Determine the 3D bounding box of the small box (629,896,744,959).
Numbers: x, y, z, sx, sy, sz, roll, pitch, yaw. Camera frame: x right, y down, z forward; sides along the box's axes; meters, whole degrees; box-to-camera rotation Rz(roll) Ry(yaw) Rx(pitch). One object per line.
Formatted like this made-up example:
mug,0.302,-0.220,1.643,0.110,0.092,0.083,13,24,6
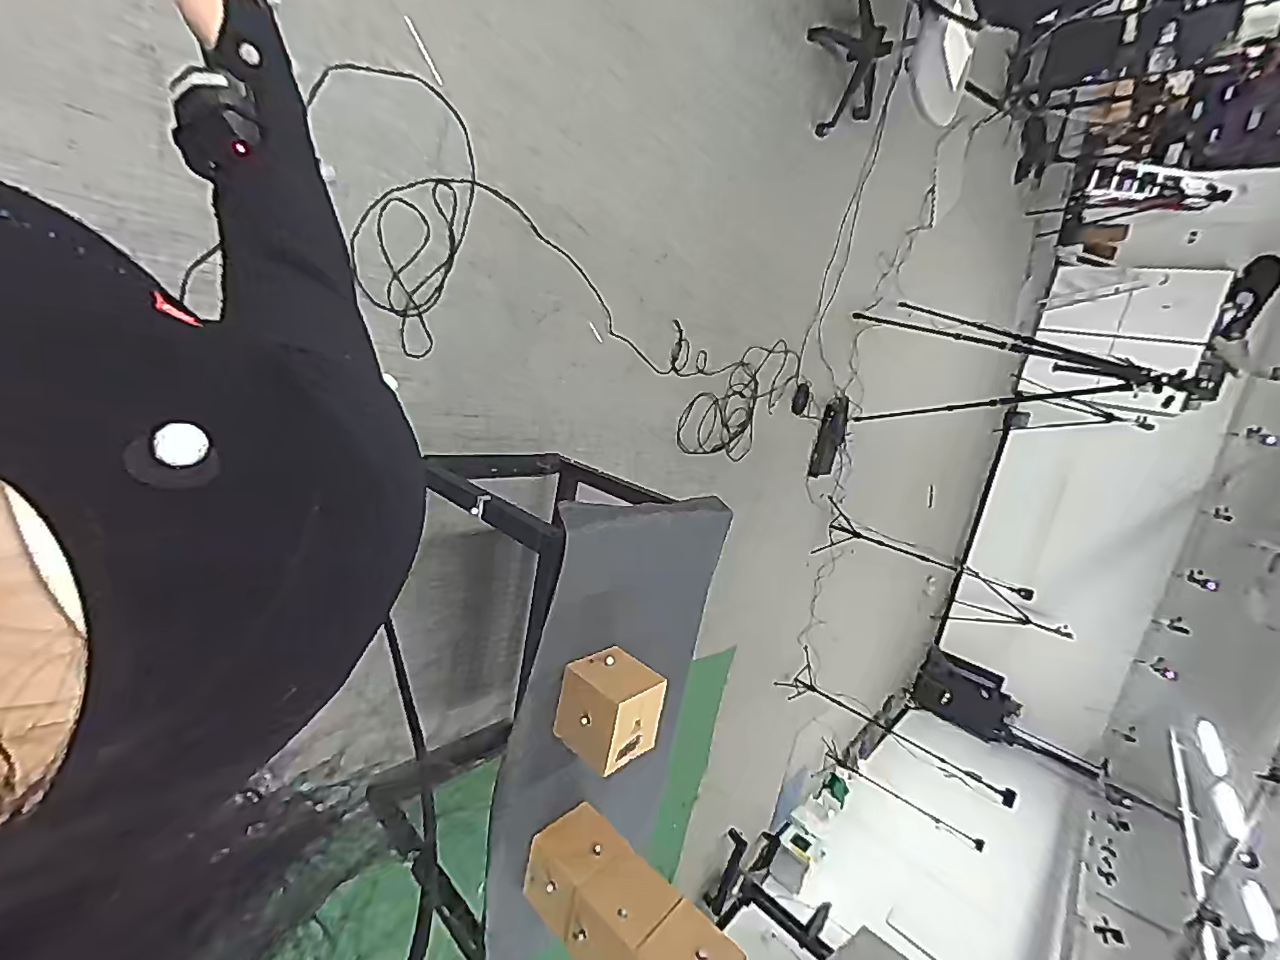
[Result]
small box,0.084,1.014,1.100,0.179,0.176,0.168,-8,112,-49

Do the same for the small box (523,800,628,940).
small box,-0.159,0.926,1.303,0.179,0.176,0.168,-4,109,-50

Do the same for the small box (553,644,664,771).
small box,-0.074,0.498,1.212,0.168,0.176,0.179,-2,107,-50
